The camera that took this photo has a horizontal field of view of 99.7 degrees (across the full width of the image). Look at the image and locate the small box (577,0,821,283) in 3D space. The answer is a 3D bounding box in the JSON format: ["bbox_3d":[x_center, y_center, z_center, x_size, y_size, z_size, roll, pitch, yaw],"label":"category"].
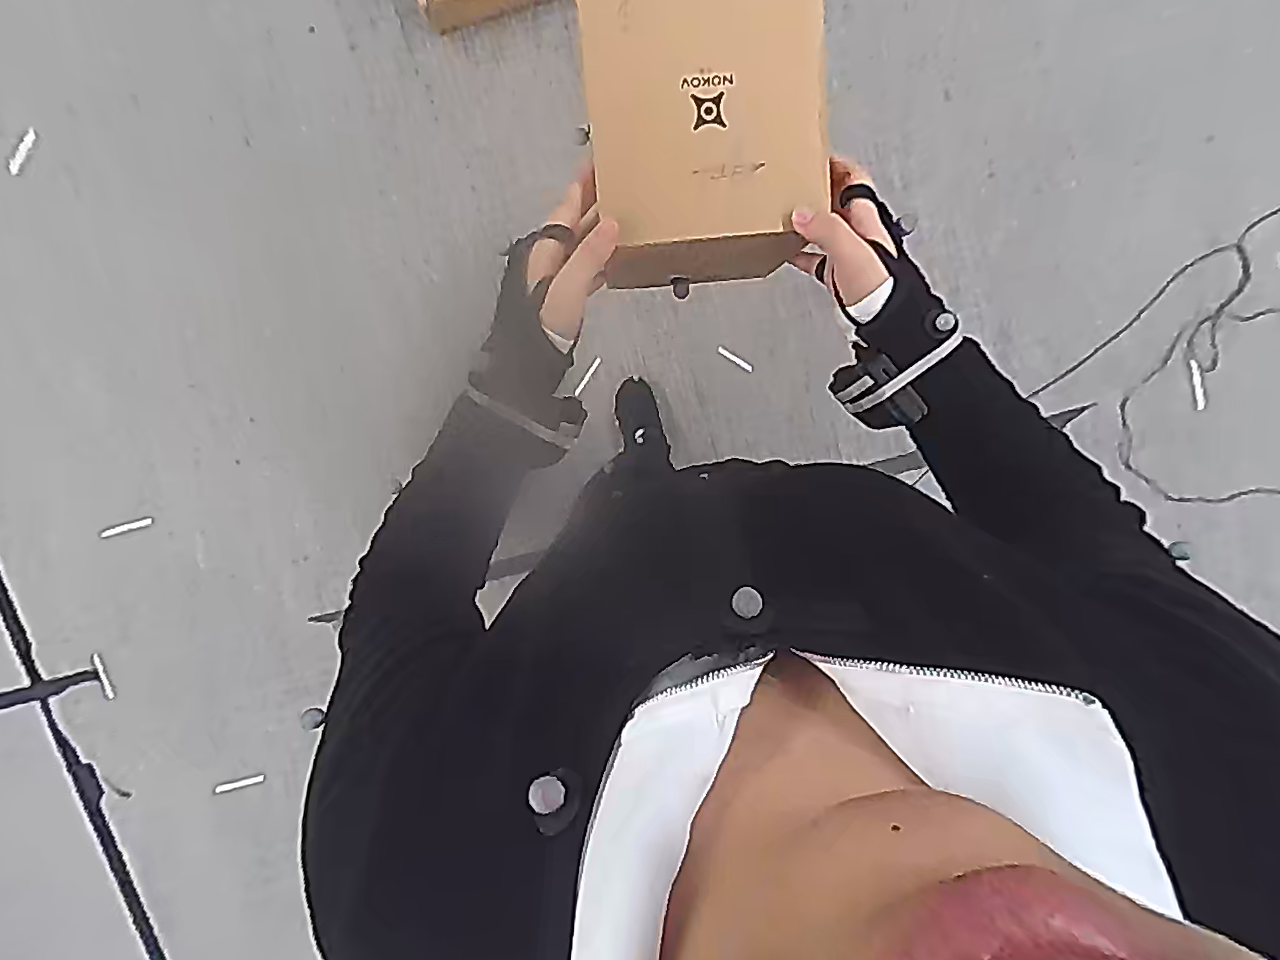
[{"bbox_3d":[0.038,-0.277,0.450,0.168,0.176,0.179,-5,99,-2],"label":"small box"}]
